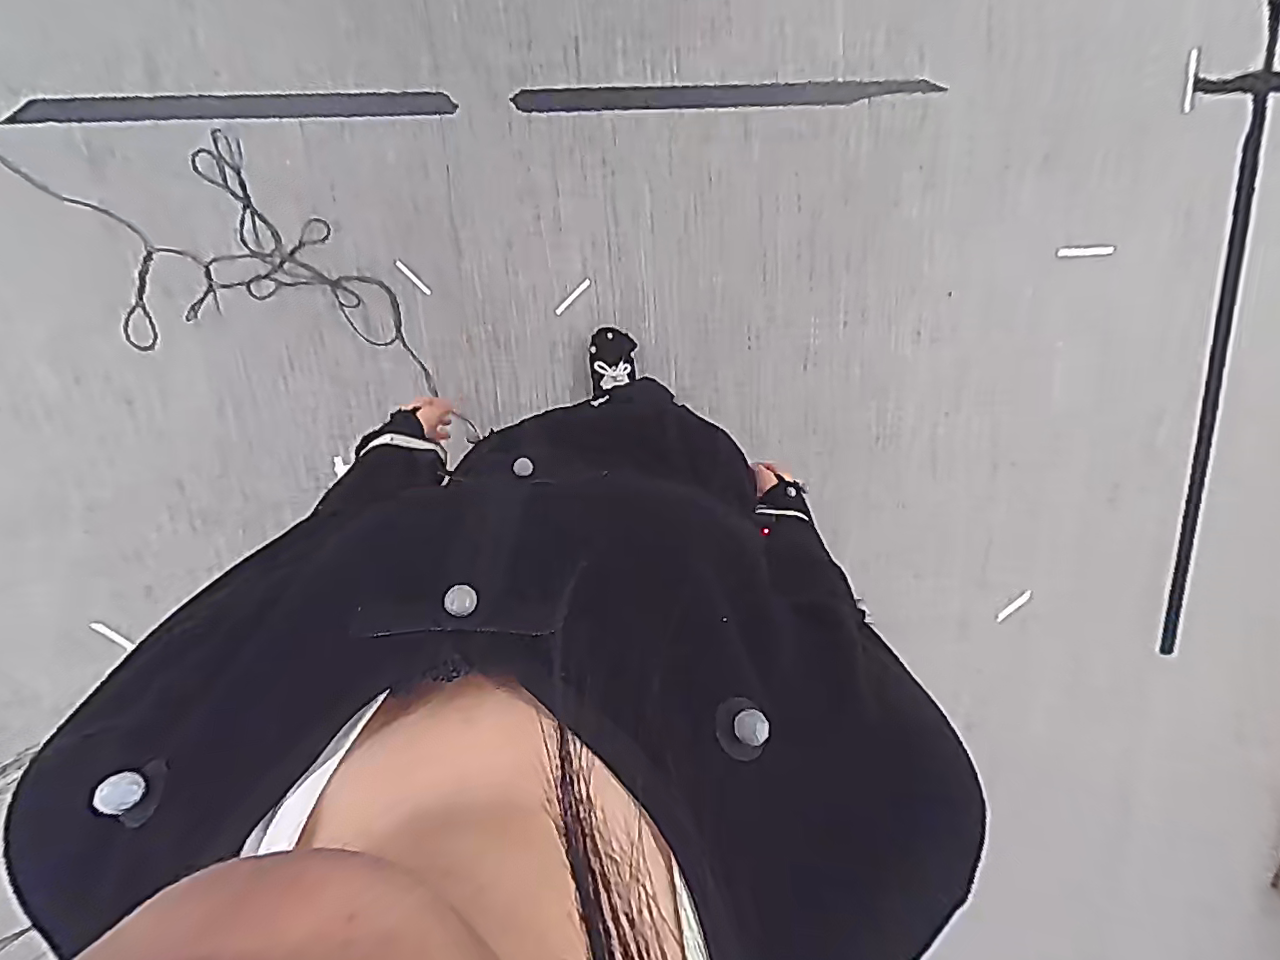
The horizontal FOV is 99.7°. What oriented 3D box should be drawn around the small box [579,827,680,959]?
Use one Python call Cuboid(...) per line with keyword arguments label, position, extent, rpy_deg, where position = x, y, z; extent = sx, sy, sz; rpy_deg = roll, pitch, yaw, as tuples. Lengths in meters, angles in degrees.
Cuboid(label="small box", position=(-0.024, 0.762, 0.976), extent=(0.168, 0.176, 0.179), rpy_deg=(1, 103, -3))
